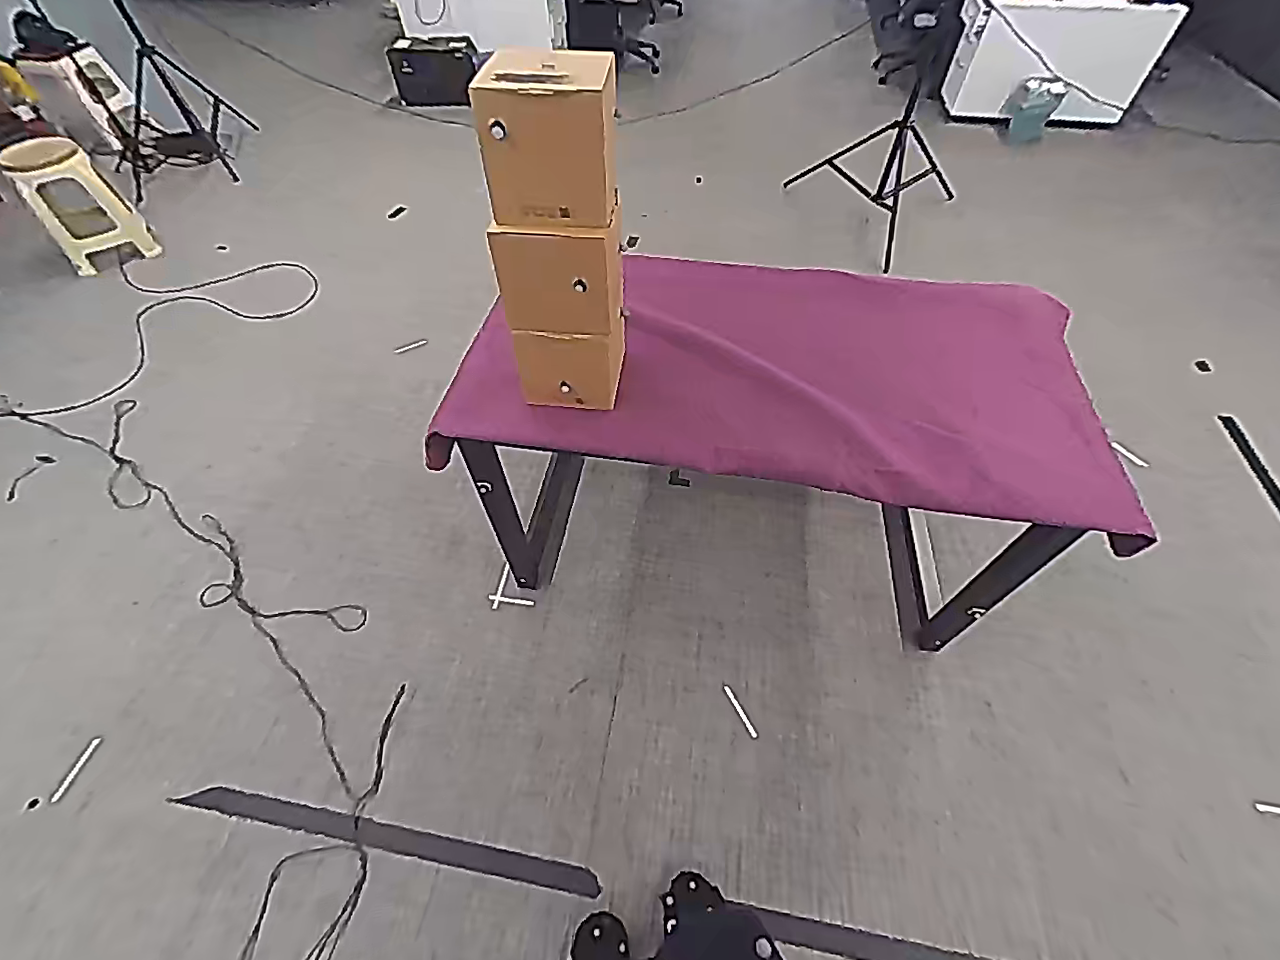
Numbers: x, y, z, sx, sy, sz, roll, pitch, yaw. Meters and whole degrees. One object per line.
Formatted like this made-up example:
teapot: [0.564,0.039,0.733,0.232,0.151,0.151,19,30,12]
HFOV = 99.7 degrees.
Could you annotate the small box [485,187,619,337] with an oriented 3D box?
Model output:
small box: [-0.129,-0.351,0.881,0.179,0.176,0.168,4,51,4]

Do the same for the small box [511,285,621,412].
small box: [-0.126,-0.252,1.009,0.168,0.176,0.179,5,53,4]
